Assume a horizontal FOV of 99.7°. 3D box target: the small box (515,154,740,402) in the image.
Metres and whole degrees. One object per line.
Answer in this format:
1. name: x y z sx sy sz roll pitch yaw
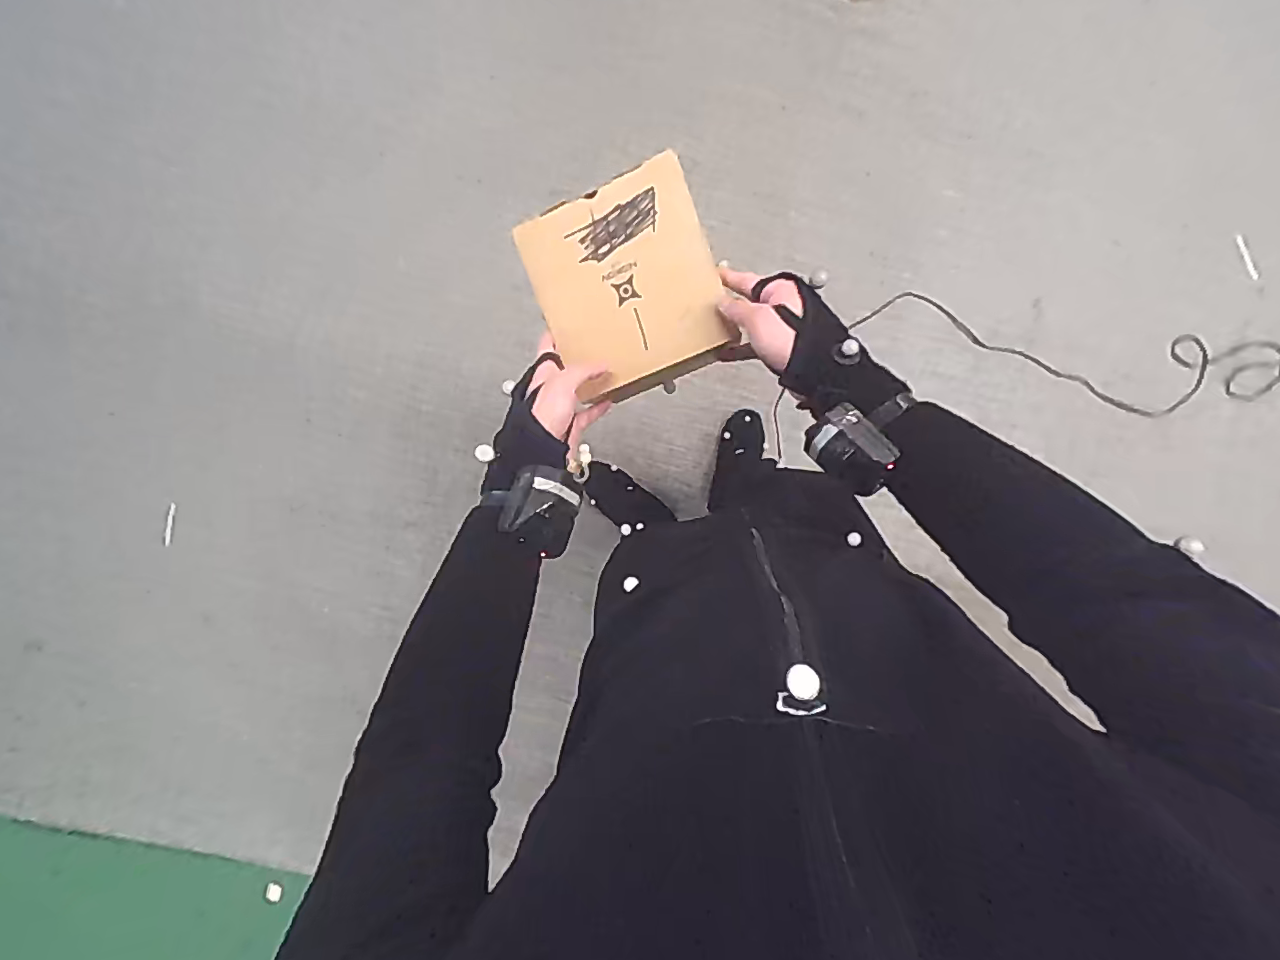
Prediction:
1. small box: -0.001 -0.190 0.572 0.168 0.176 0.179 -20 93 13
